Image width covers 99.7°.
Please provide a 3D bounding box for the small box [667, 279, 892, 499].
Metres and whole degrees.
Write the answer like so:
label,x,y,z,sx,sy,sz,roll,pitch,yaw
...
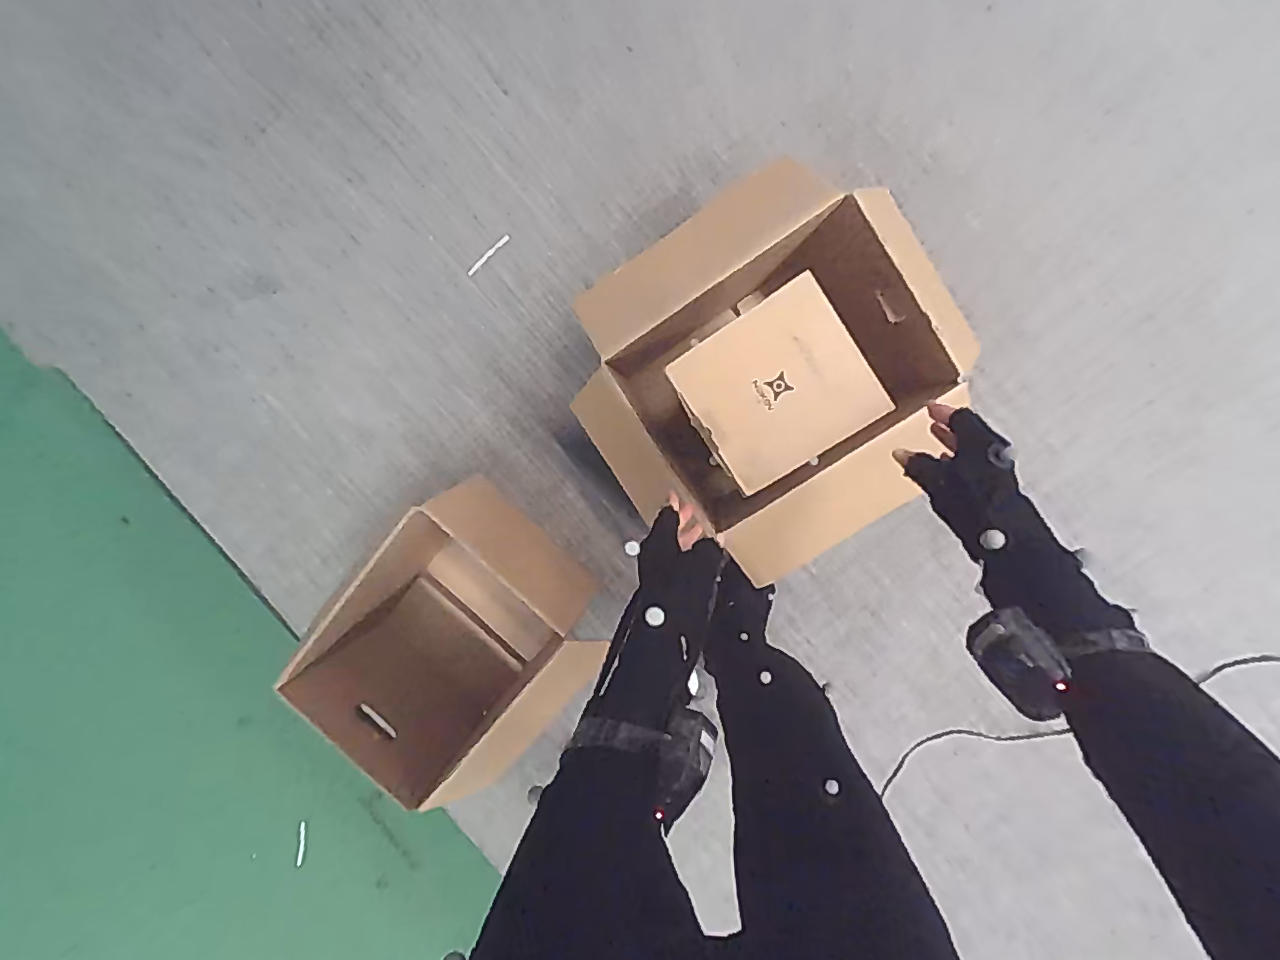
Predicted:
label,x,y,z,sx,sy,sz,roll,pitch,yaw
small box,0.153,-0.101,0.638,0.179,0.176,0.168,-34,94,10
